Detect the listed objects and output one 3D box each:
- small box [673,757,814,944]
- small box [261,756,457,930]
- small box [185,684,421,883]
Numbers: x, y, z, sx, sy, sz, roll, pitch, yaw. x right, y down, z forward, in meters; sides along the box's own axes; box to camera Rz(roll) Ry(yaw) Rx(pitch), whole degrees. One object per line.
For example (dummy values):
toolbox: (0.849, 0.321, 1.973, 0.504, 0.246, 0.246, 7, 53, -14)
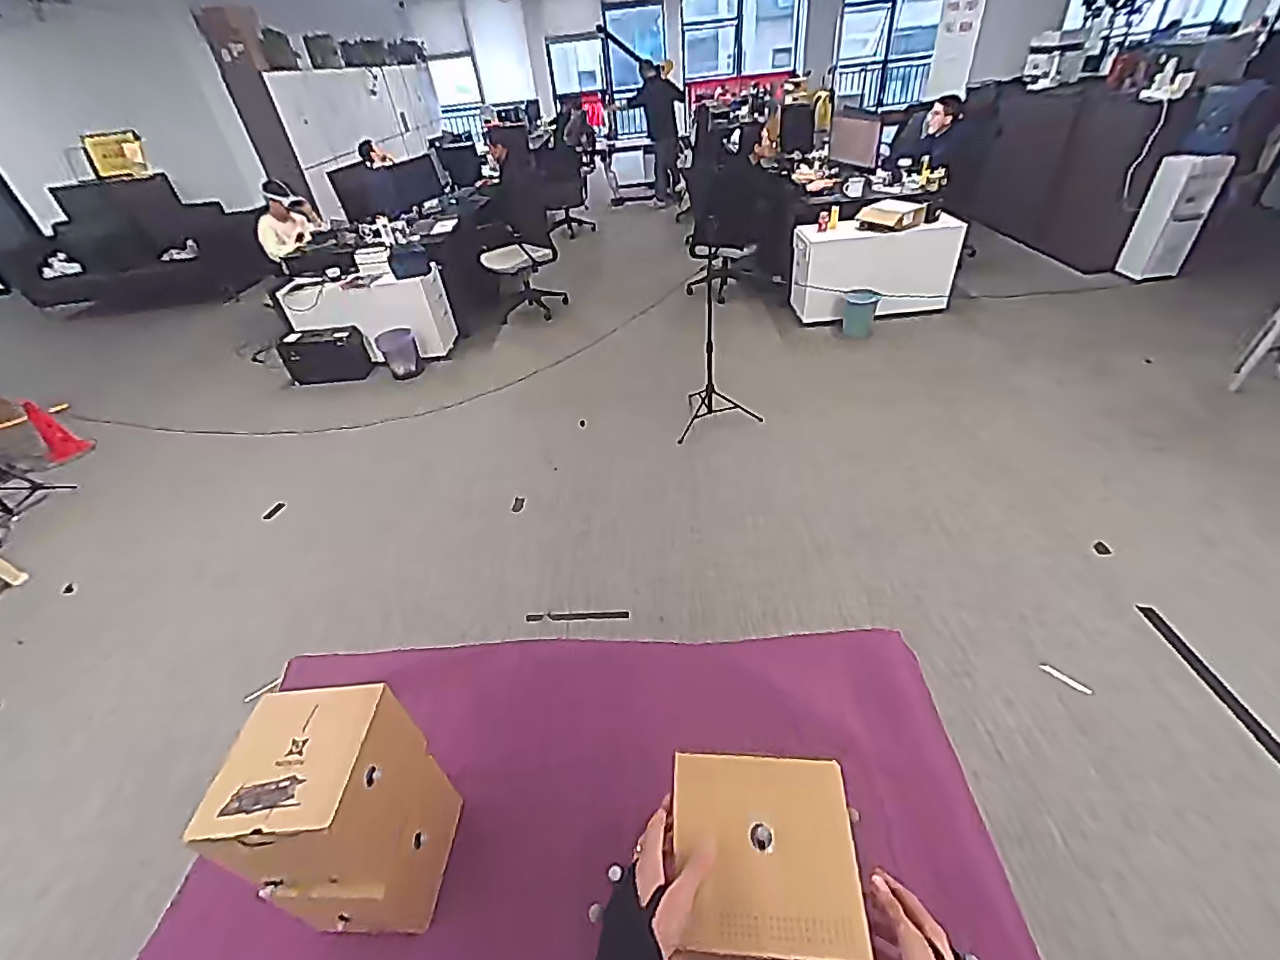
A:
small box: (0.134, 0.504, 0.738, 0.168, 0.176, 0.179, -3, 38, 5)
small box: (-0.384, 0.524, 0.783, 0.168, 0.176, 0.179, -2, 38, 5)
small box: (-0.403, 0.389, 0.691, 0.168, 0.176, 0.179, -5, 38, 1)
